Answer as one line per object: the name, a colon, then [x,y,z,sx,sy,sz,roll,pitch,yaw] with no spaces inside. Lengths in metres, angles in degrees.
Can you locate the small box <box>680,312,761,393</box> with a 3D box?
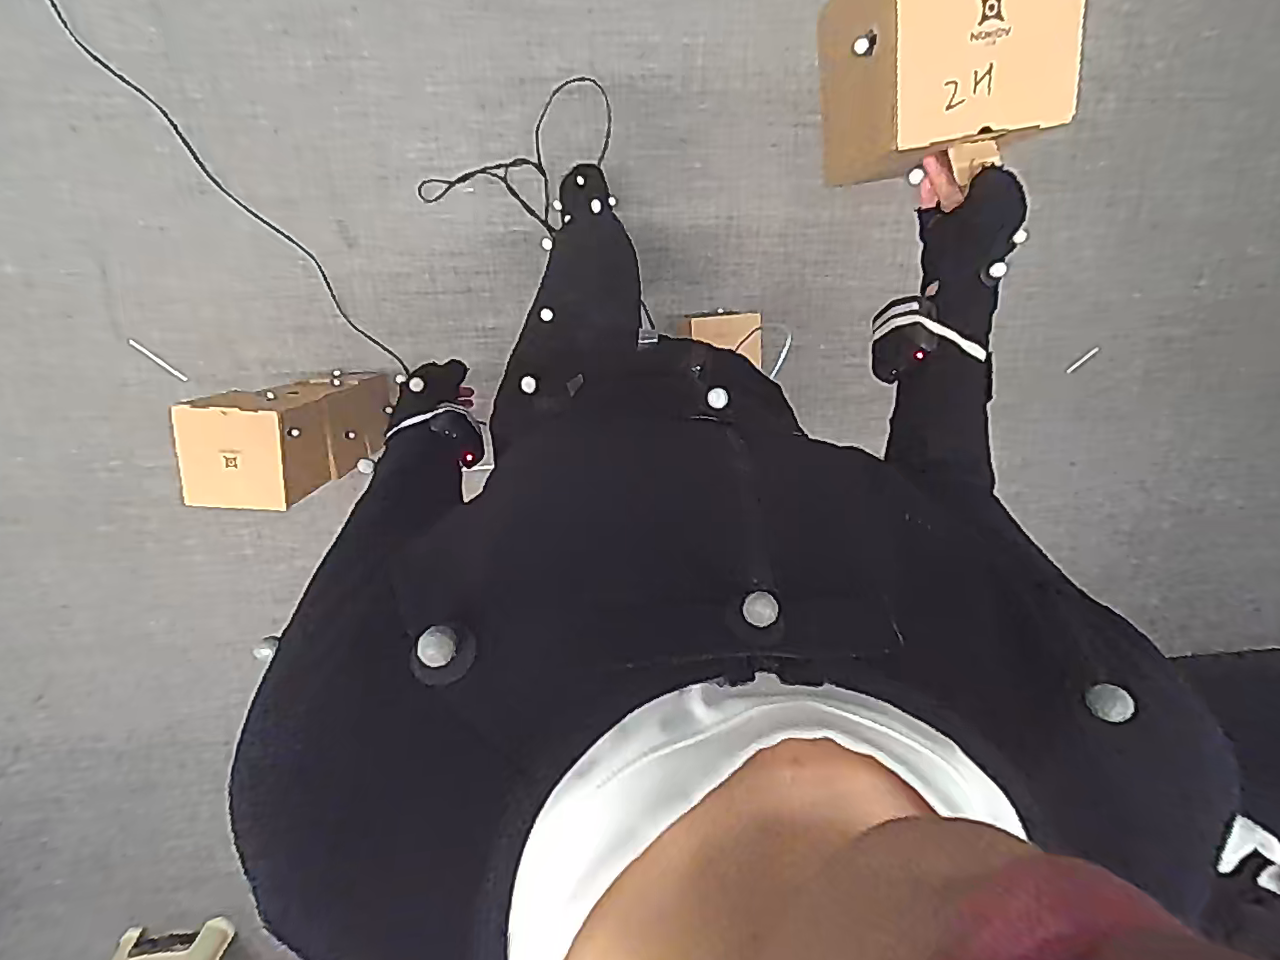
small box: [0.196,-0.320,1.338,0.168,0.176,0.179,-6,107,-4]

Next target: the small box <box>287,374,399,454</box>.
small box: [-0.704,-0.161,1.301,0.168,0.176,0.179,-4,106,-1]

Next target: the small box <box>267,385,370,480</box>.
small box: [-0.694,-0.106,1.144,0.168,0.176,0.179,-1,108,-5]

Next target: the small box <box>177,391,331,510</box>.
small box: [-0.688,-0.059,0.988,0.168,0.176,0.179,4,106,-6]

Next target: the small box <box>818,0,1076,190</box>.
small box: [0.288,-0.414,0.542,0.168,0.176,0.179,-9,108,-1]
